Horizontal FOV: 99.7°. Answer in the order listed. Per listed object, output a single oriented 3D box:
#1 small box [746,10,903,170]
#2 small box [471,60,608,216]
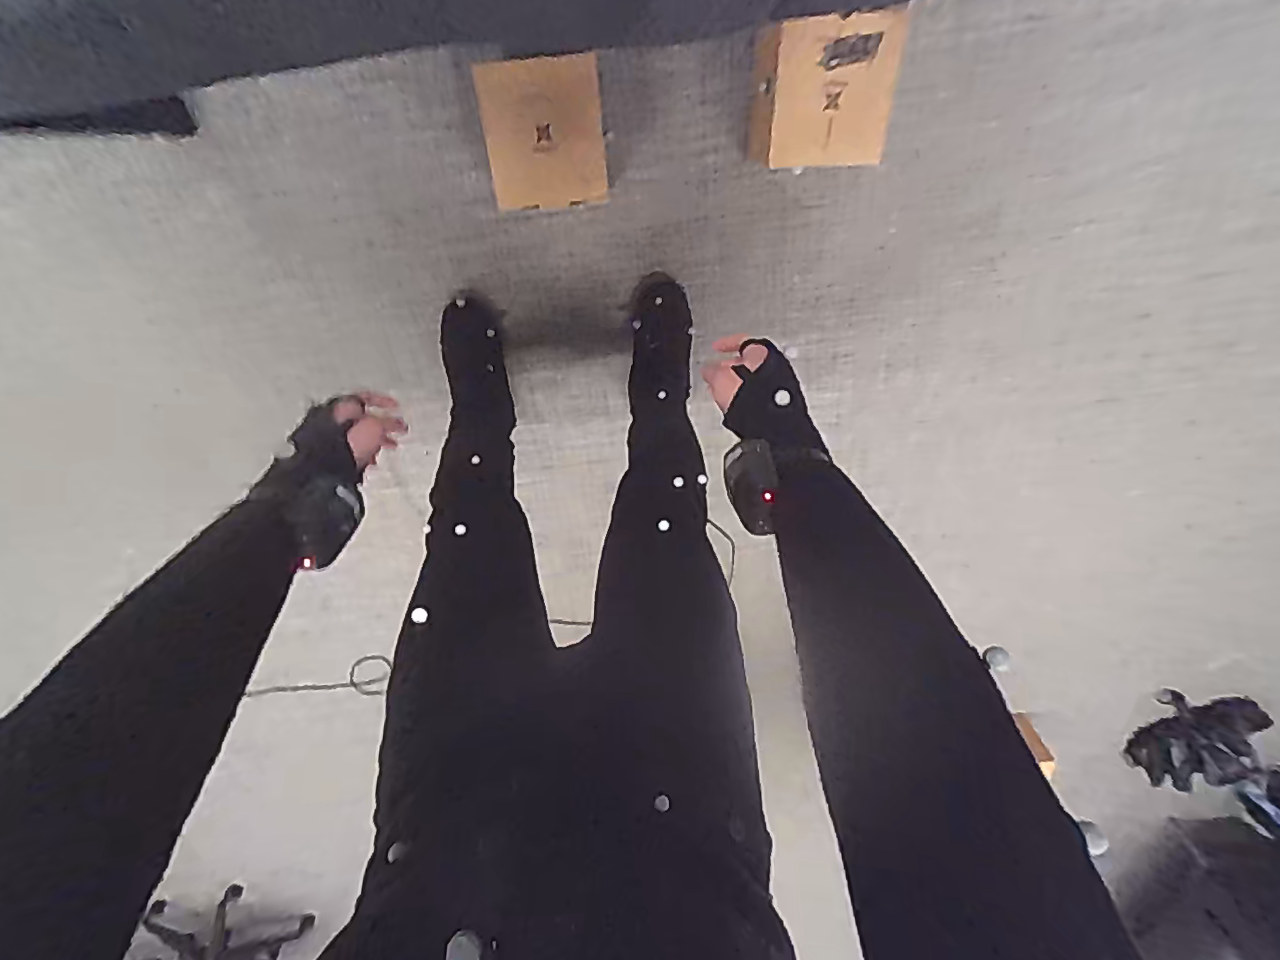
[{"bbox_3d":[0.258,-0.568,0.805,0.168,0.176,0.179,-3,123,0],"label":"small box"},{"bbox_3d":[-0.140,-0.517,0.831,0.168,0.176,0.179,-6,120,1],"label":"small box"}]
